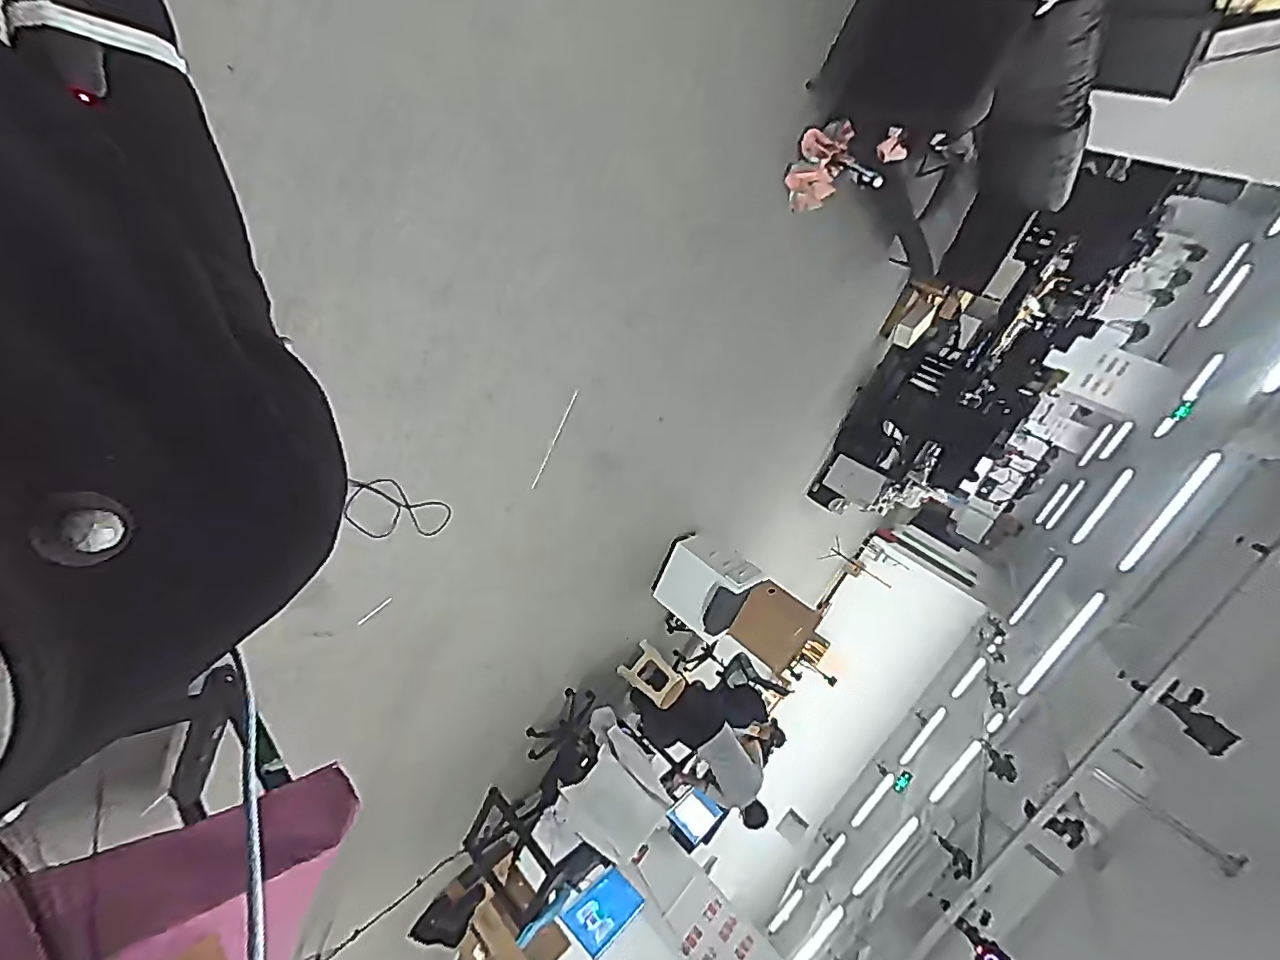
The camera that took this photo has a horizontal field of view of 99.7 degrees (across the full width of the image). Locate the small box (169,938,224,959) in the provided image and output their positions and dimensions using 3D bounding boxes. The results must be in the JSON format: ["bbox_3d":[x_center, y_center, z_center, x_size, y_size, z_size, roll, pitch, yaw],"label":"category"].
[{"bbox_3d":[-0.996,1.147,1.160,0.168,0.176,0.179,-5,126,-53],"label":"small box"}]
